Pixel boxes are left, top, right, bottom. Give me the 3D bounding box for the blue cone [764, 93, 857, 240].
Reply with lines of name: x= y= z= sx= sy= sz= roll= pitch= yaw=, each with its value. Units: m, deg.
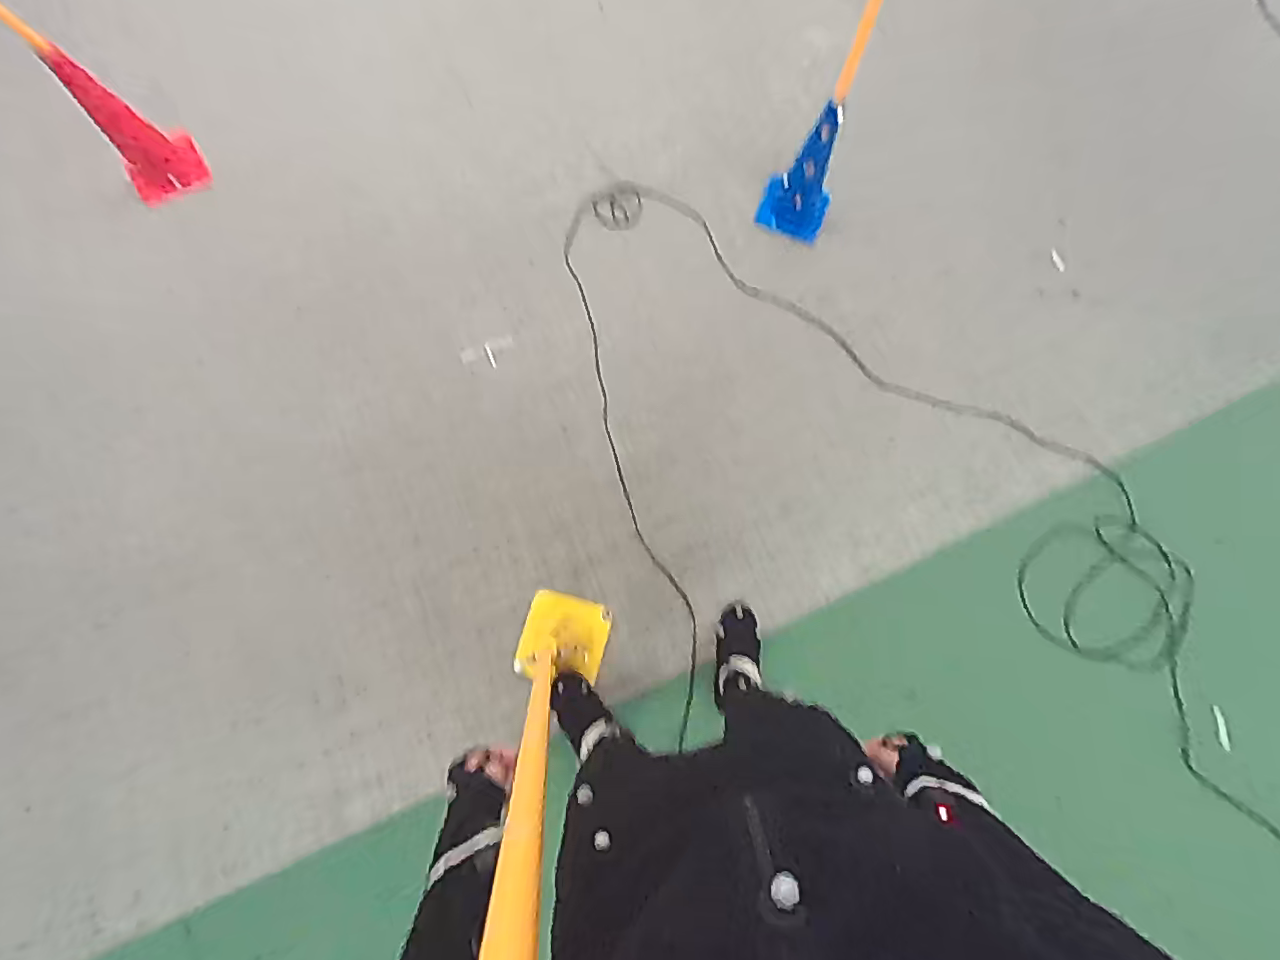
blue cone: x=0.487 y=-0.868 z=1.479 sx=0.192 sy=0.380 sz=0.193 roll=20 pitch=73 yaw=3
